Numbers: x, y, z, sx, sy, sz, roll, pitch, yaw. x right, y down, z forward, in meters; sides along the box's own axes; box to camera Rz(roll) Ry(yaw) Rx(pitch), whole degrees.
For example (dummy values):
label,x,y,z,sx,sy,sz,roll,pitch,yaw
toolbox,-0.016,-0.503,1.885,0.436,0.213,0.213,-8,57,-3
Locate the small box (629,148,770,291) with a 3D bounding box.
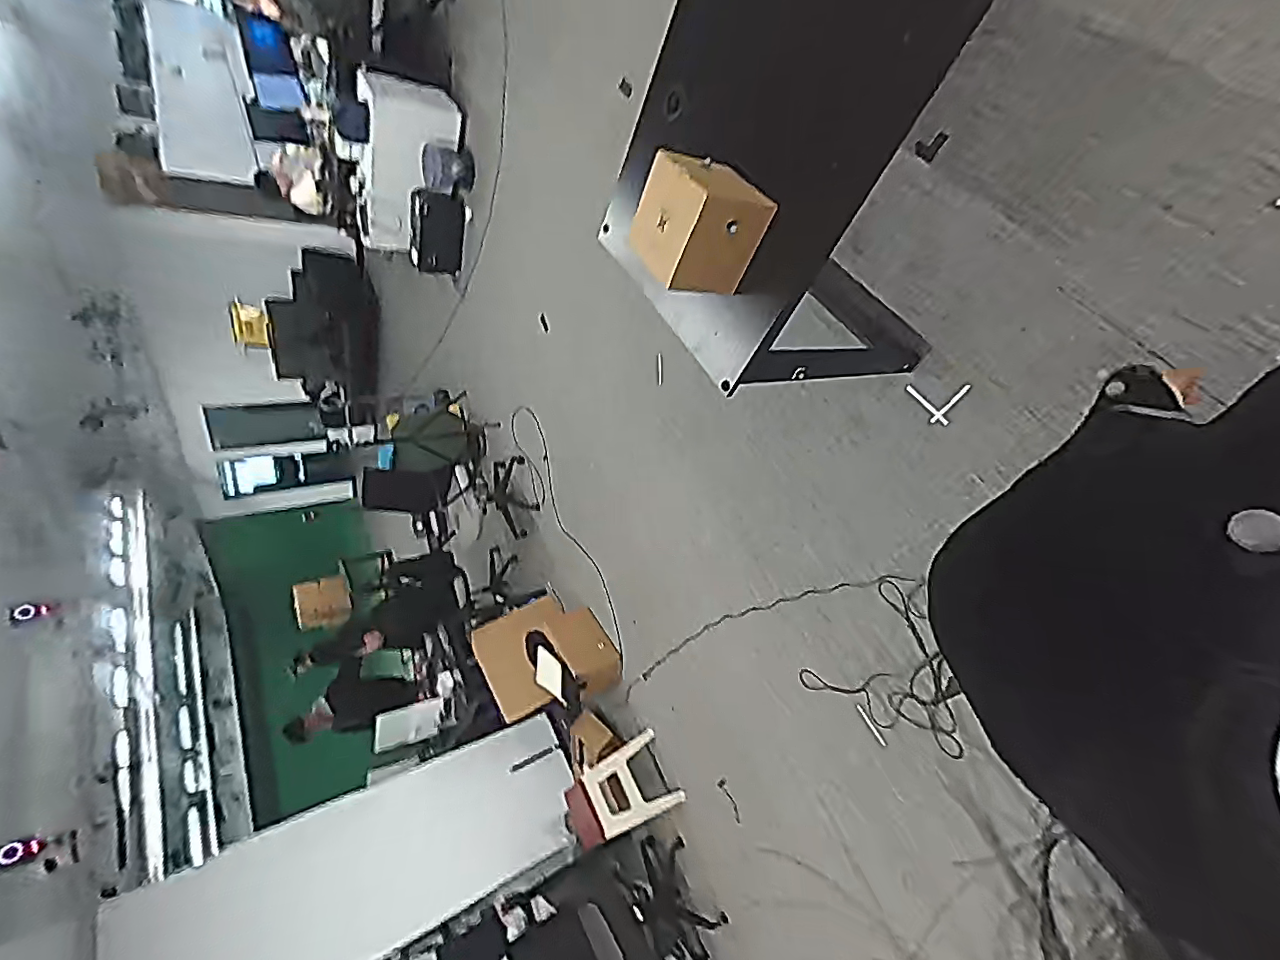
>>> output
label,x,y,z,sx,sy,sz,roll,pitch,yaw
small box,0.111,-0.470,0.993,0.168,0.176,0.179,57,141,30
